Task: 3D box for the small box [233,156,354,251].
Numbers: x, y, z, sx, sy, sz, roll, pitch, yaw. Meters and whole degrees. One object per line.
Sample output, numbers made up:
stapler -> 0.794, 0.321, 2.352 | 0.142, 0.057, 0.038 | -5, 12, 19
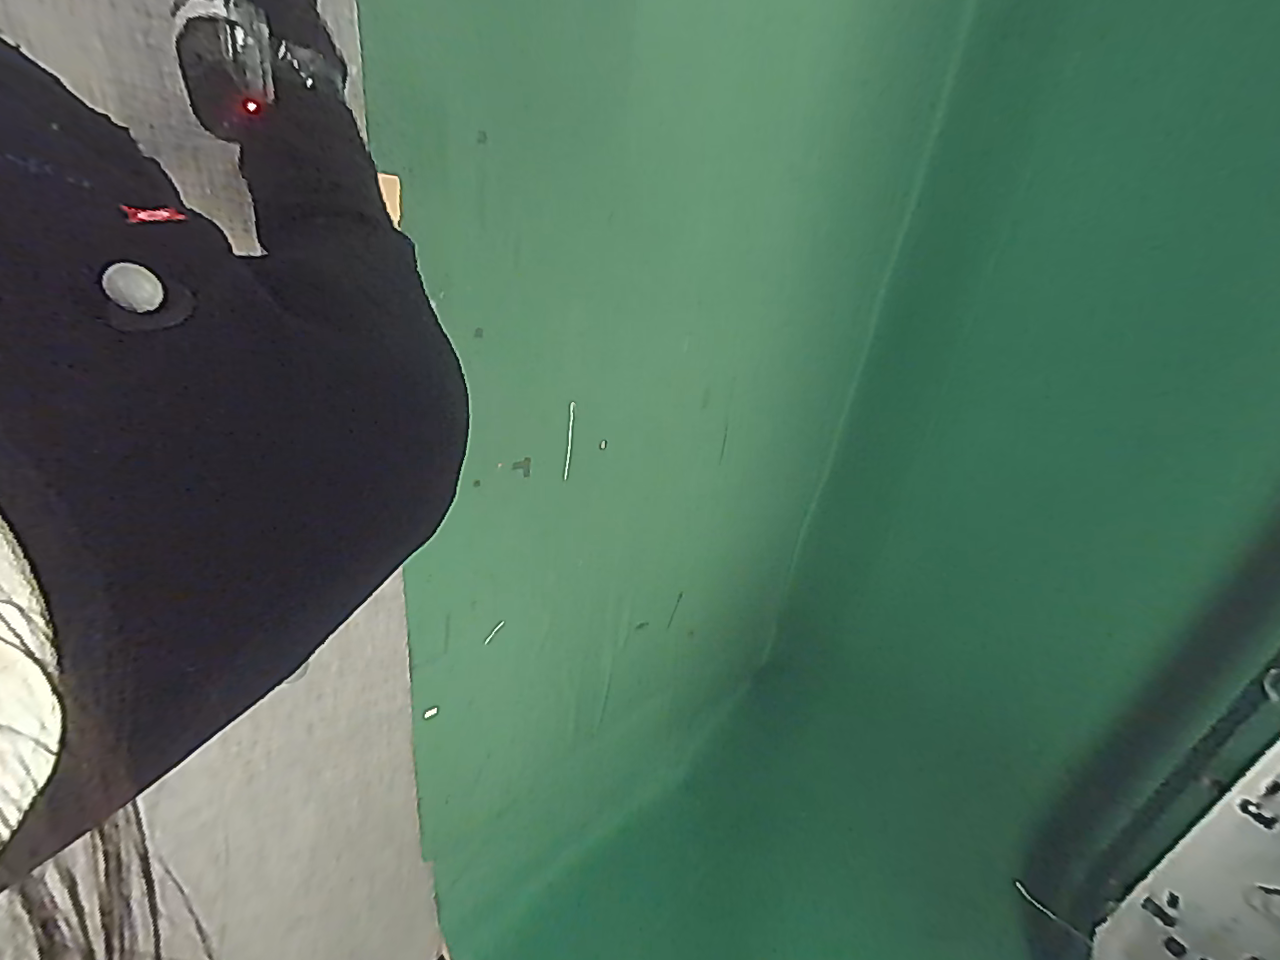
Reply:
small box -> -0.701, -0.562, 1.116 | 0.179, 0.176, 0.168 | -19, 126, -42
